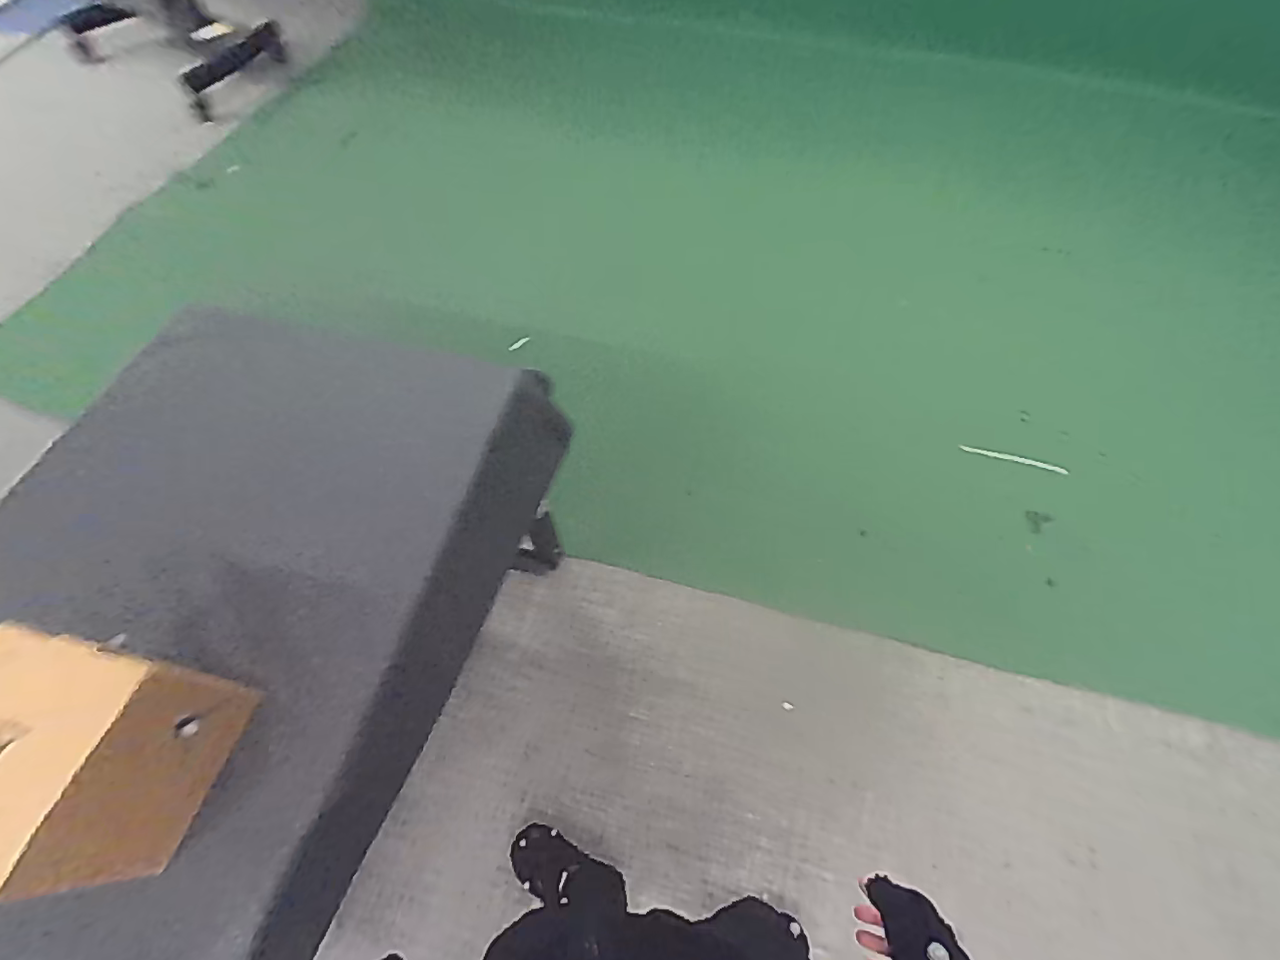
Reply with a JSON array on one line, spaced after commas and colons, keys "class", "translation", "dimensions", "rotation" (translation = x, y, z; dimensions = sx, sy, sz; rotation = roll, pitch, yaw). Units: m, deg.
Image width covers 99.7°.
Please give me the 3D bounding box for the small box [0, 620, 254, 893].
[{"class": "small box", "translation": [-0.527, 0.258, 0.524], "dimensions": [0.168, 0.176, 0.179], "rotation": [11, 62, 7]}]
